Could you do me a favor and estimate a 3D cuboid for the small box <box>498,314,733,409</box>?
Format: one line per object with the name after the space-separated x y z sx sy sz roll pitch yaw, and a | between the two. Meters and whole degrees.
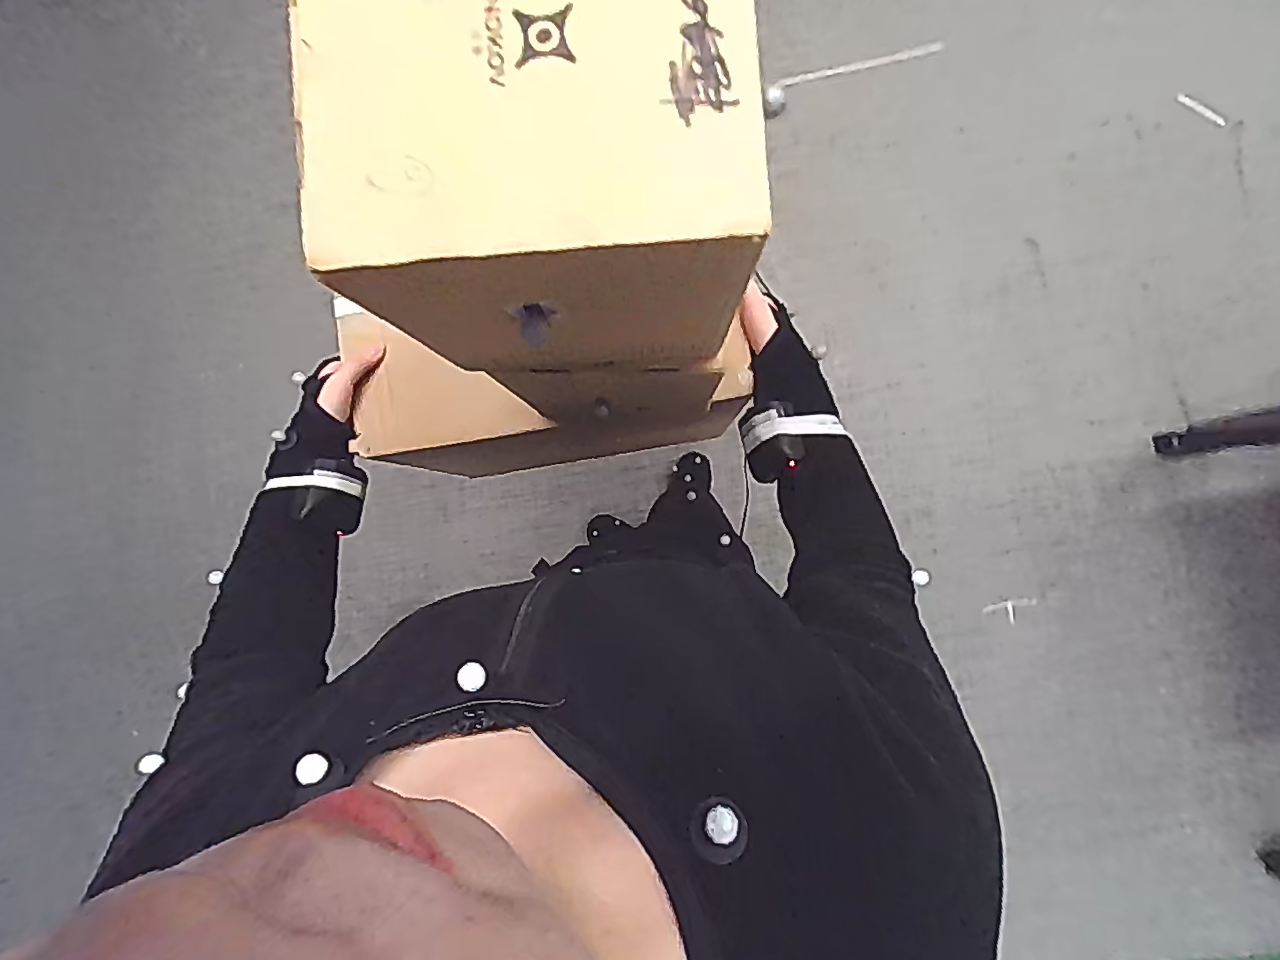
-0.015 -0.160 0.448 0.168 0.176 0.179 1 90 2 | small box

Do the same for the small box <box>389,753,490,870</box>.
-0.455 0.753 1.246 0.168 0.176 0.179 -3 93 3 | small box

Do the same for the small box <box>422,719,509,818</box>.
-0.448 0.750 1.410 0.168 0.176 0.179 -4 90 2 | small box

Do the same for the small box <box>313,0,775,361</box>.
-0.034 -0.164 0.284 0.179 0.176 0.168 -3 90 3 | small box
